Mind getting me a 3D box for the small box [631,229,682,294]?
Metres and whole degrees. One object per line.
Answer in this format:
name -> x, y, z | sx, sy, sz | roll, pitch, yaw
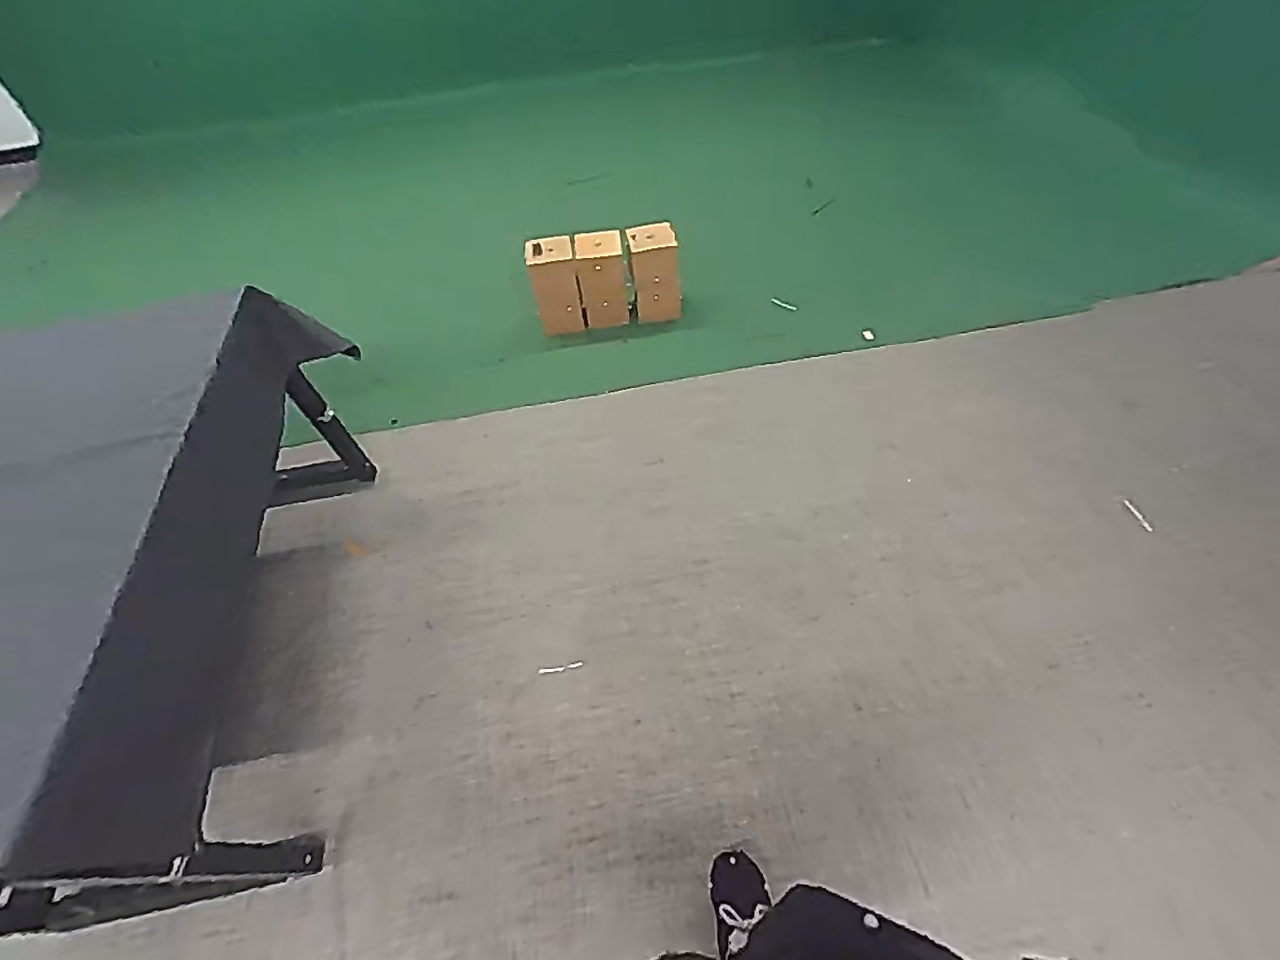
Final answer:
small box -> 0.063, -0.859, 2.130 | 0.179, 0.176, 0.168 | -9, 54, -4
